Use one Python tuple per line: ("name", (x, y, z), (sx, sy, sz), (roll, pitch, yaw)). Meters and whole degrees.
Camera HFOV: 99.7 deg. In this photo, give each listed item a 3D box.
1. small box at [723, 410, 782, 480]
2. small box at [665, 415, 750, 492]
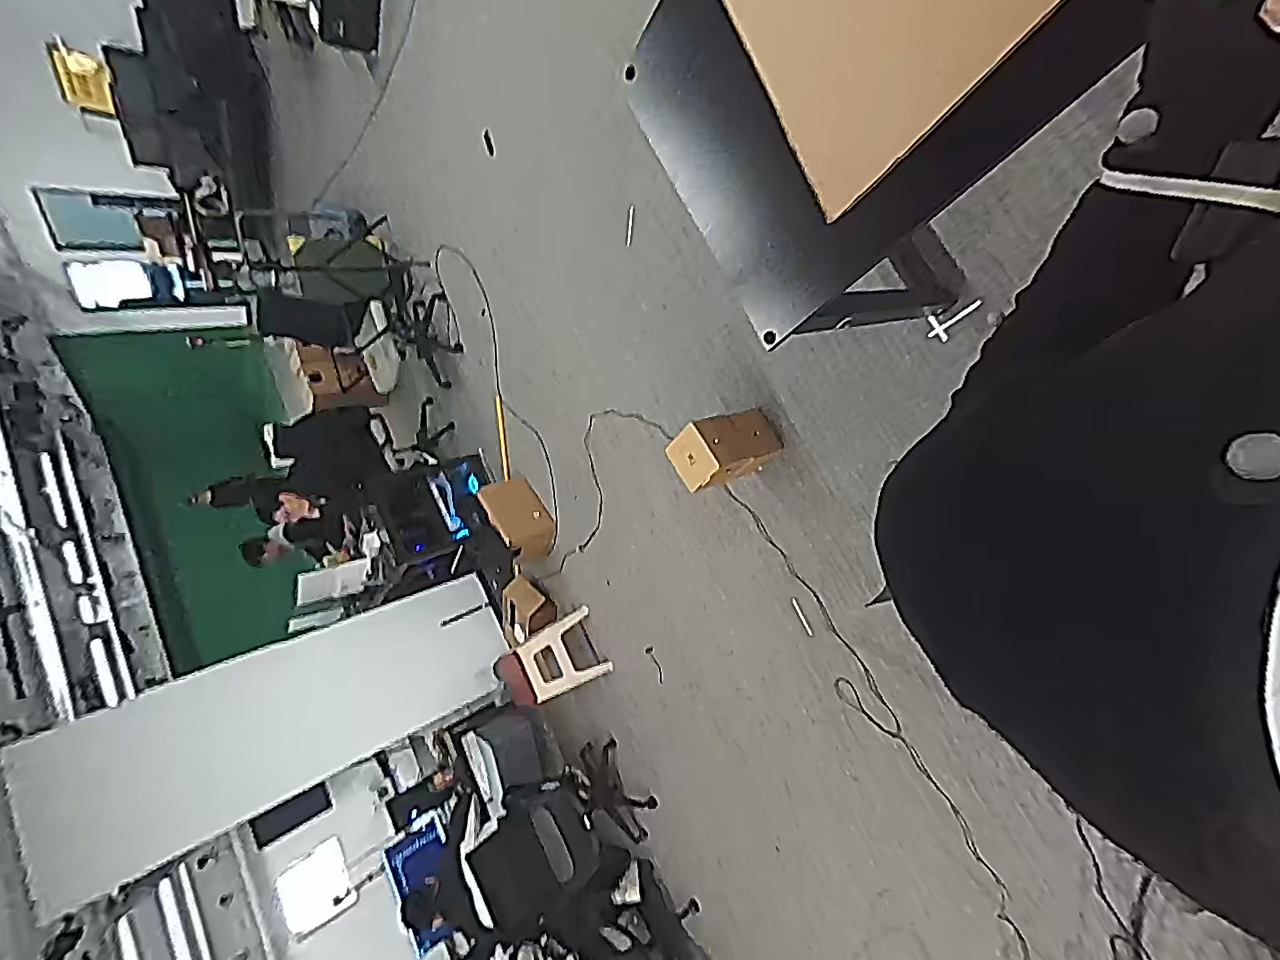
("small box", (0.345, -0.125, 1.837), (0.168, 0.176, 0.179), (-43, 71, 49))
("small box", (0.220, -0.091, 1.738), (0.179, 0.176, 0.168), (61, 139, 16))
